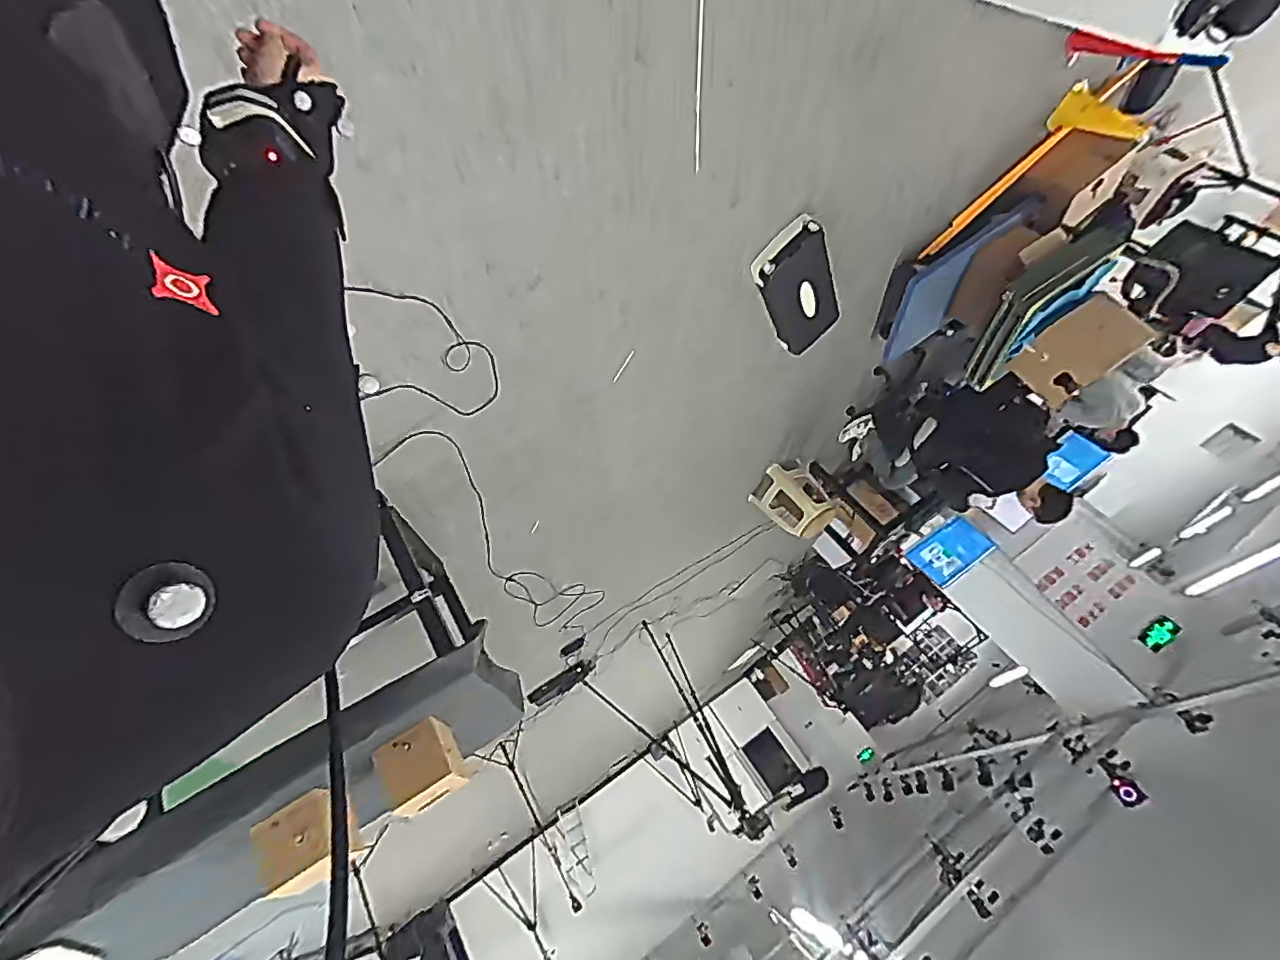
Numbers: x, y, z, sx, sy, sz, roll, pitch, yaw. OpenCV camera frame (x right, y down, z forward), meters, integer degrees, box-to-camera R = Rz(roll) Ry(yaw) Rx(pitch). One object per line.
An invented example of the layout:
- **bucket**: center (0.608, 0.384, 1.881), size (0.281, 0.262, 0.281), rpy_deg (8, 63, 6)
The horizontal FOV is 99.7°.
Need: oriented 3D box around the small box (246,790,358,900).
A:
- **small box**: center (-0.858, 0.918, 1.374), size (0.168, 0.176, 0.179), rpy_deg (-29, 151, -18)
